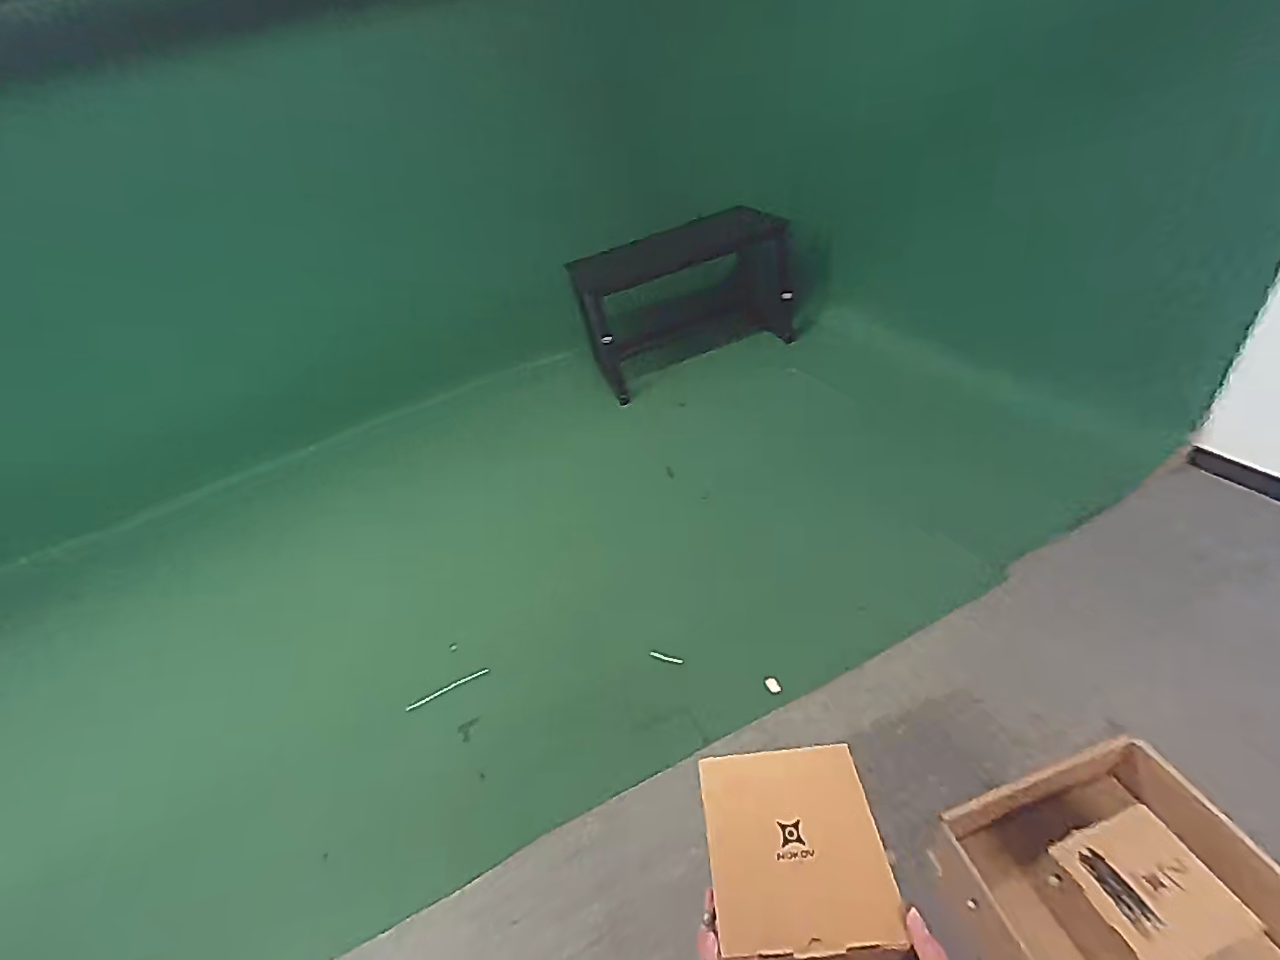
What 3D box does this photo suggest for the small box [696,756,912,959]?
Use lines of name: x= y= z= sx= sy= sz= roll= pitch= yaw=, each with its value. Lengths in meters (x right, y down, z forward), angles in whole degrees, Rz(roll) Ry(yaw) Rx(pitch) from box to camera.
small box: x=0.152 y=0.423 z=0.567 sx=0.168 sy=0.176 sz=0.179 roll=-7 pitch=37 yaw=1
